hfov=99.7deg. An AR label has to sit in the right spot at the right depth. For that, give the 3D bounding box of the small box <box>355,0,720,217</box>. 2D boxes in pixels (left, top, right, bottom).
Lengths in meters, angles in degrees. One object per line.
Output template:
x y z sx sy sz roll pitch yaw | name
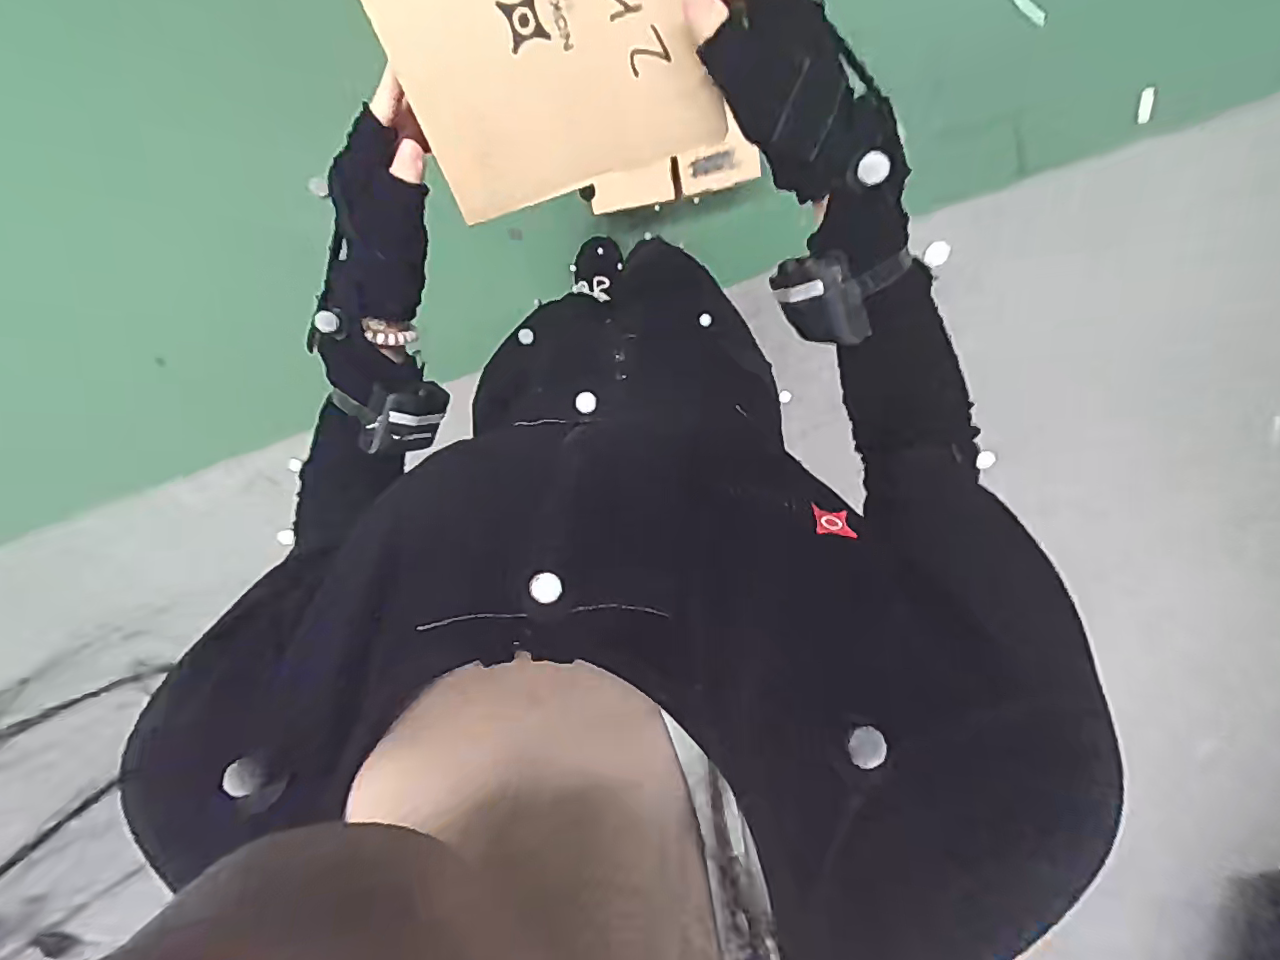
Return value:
-0.057 -0.298 0.348 0.179 0.176 0.168 -14 129 10 | small box
